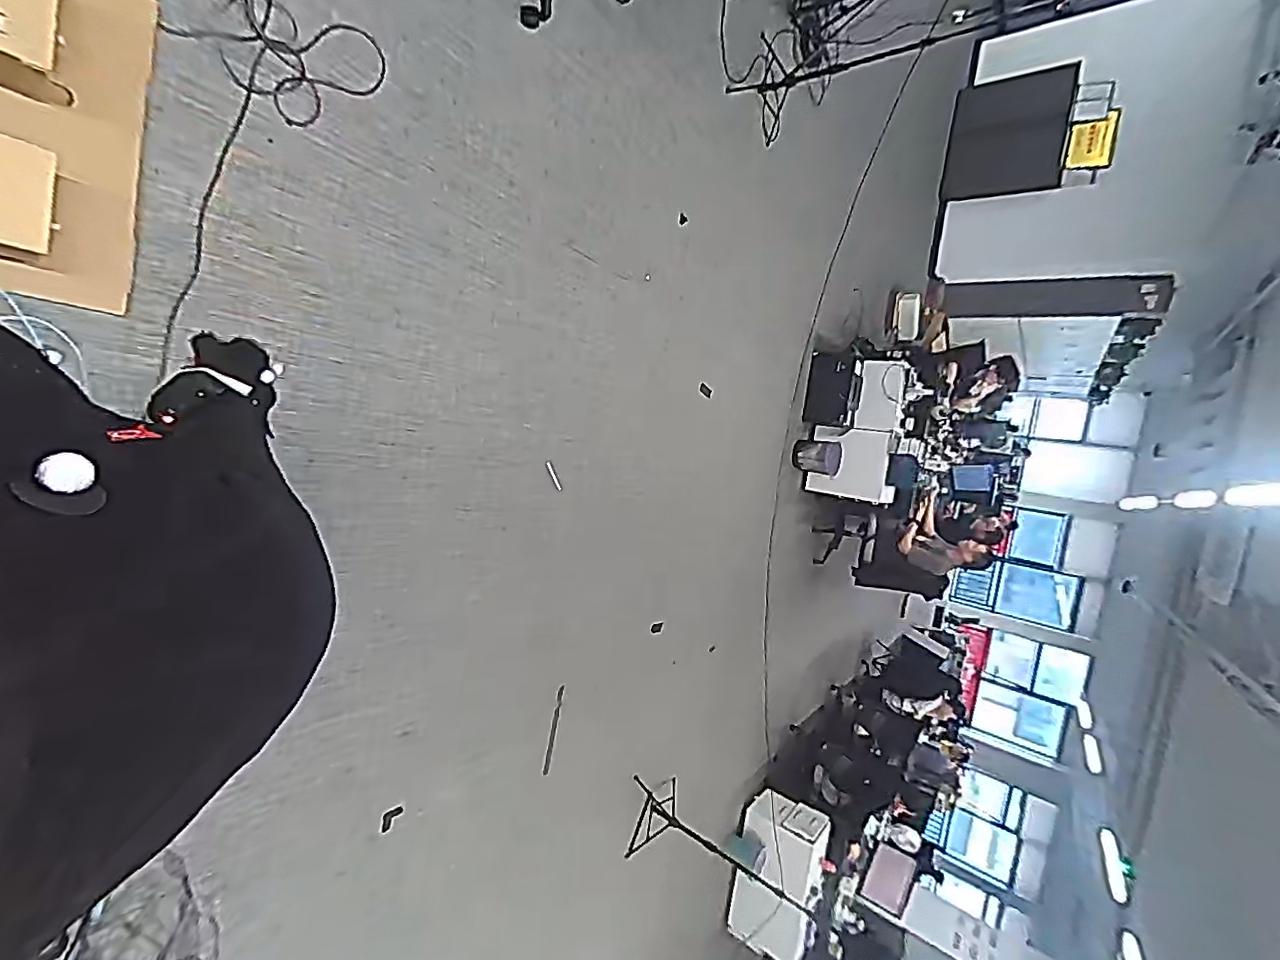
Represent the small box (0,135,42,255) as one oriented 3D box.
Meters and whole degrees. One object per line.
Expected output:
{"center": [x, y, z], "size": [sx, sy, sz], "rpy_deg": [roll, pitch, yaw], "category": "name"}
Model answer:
{"center": [-1.078, -0.464, 0.843], "size": [0.179, 0.176, 0.168], "rpy_deg": [5, 95, -51], "category": "small box"}
